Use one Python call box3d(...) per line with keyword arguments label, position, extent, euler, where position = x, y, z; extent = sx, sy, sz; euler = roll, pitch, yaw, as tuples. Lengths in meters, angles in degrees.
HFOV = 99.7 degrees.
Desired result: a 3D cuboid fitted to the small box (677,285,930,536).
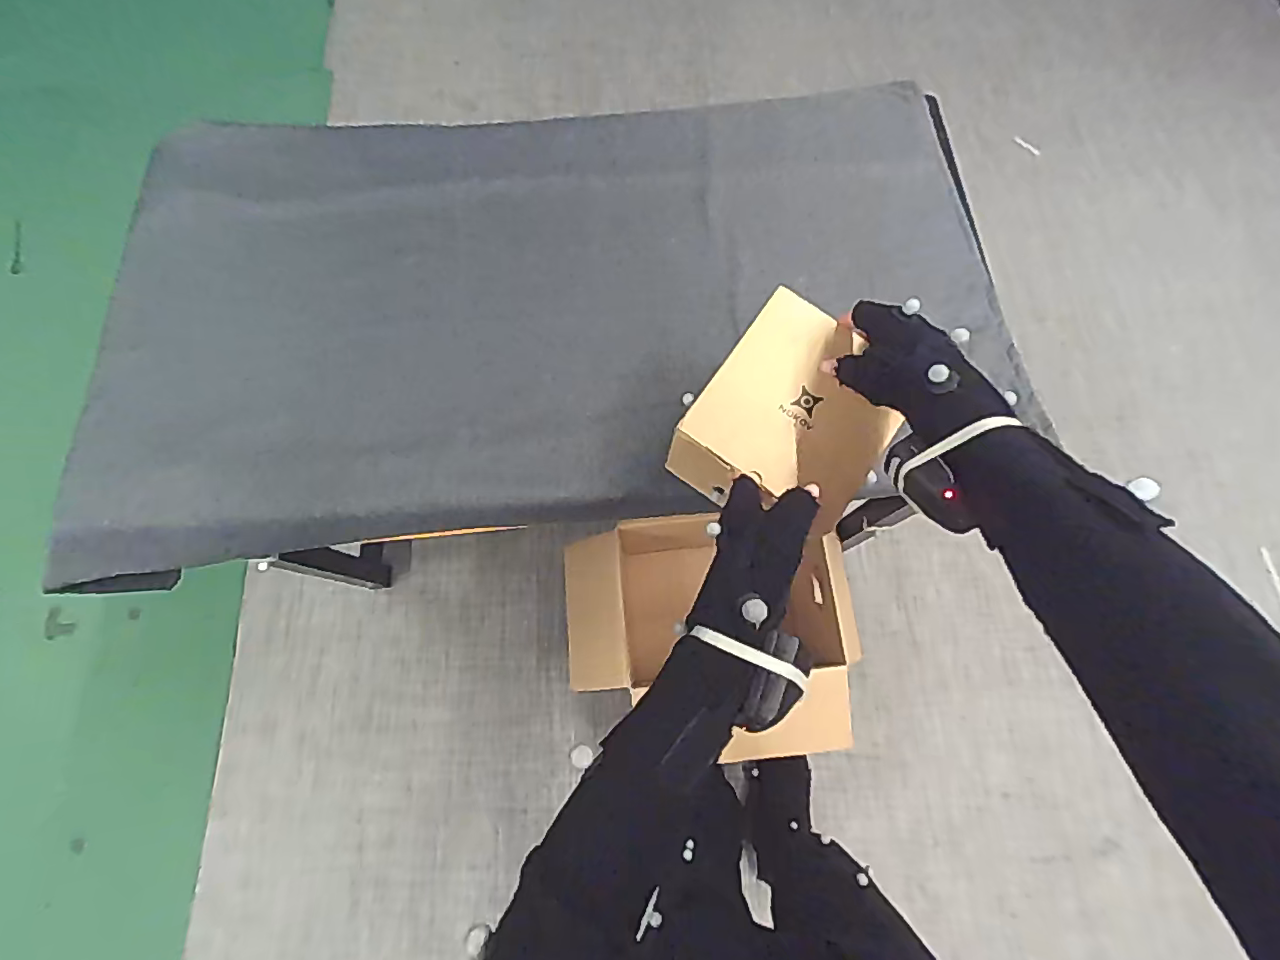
box3d(label="small box", position=(0.151, -0.057, 0.568), extent=(0.168, 0.176, 0.179), euler=(35, 83, 4))
